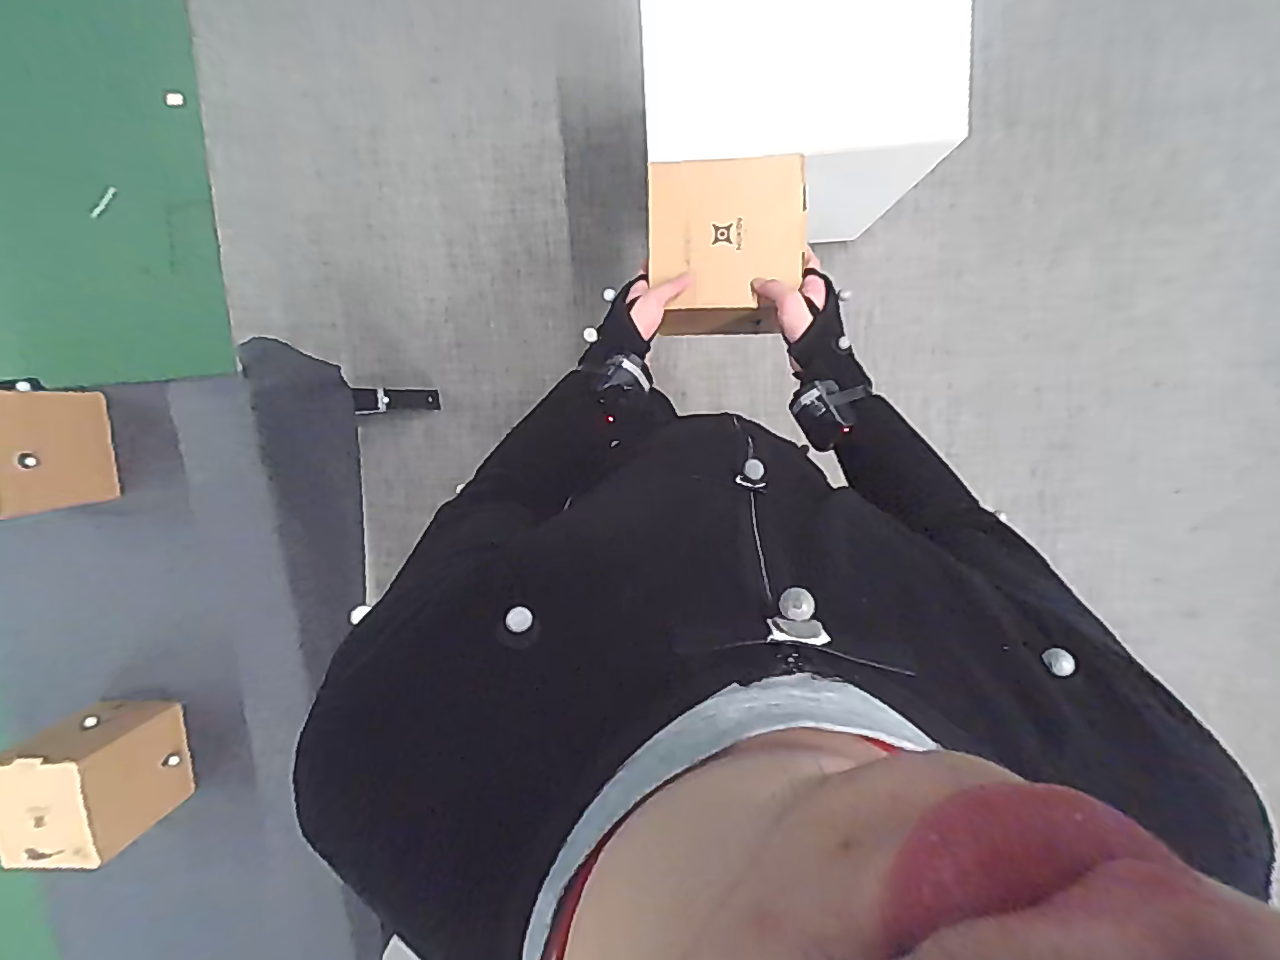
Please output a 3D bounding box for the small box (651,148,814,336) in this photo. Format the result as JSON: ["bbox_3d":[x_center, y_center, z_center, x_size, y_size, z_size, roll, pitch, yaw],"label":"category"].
[{"bbox_3d":[0.104,-0.277,0.665,0.179,0.176,0.168,-1,94,4],"label":"small box"}]

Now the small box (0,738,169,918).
[{"bbox_3d":[-0.876,0.513,0.822,0.168,0.176,0.179,-4,97,2],"label":"small box"}]
